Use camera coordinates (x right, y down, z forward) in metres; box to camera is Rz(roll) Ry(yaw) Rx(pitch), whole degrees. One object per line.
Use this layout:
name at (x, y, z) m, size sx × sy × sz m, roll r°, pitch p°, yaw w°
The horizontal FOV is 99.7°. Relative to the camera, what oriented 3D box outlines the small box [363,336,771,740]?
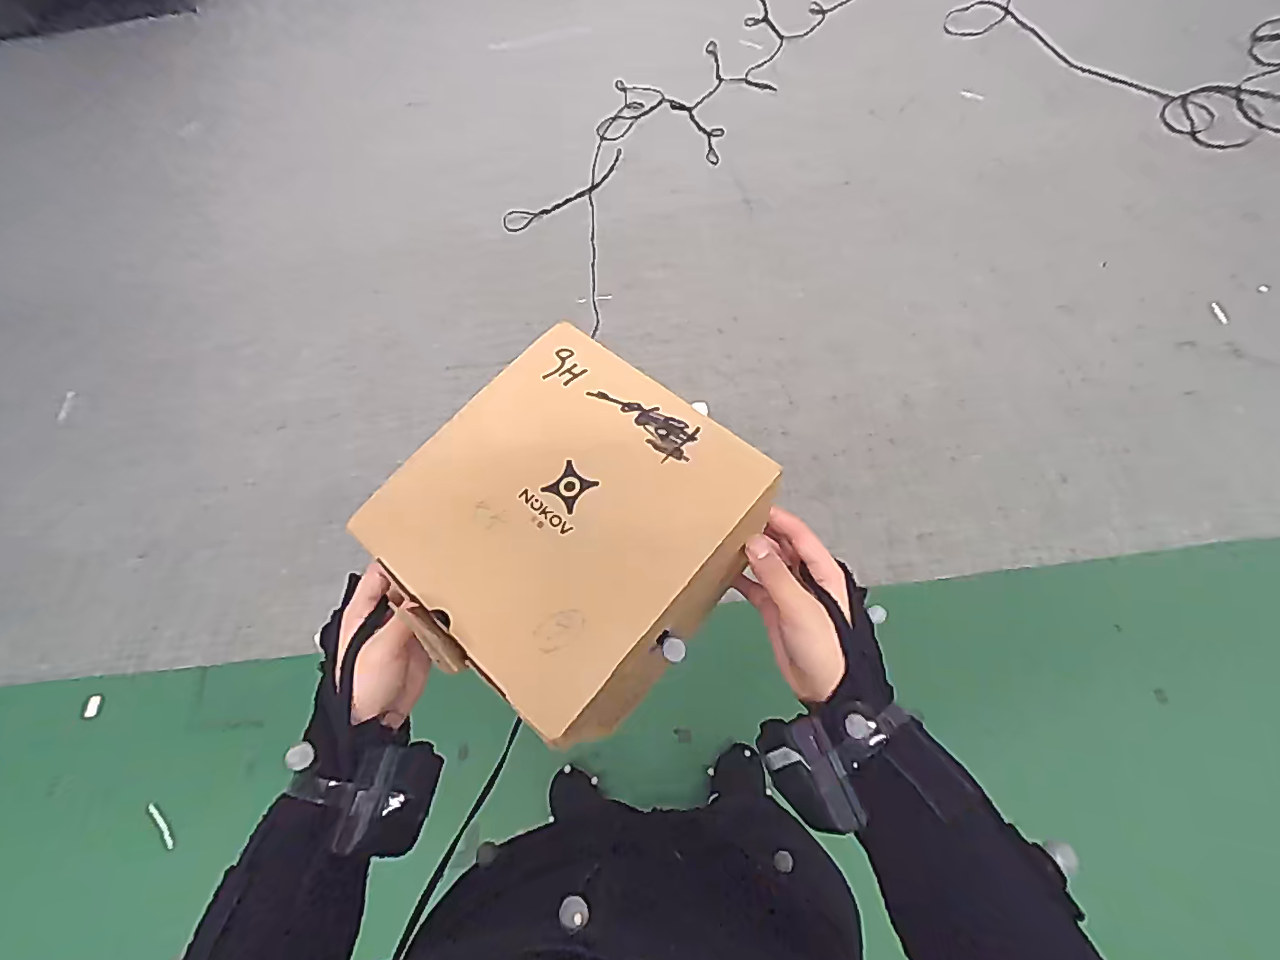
small box at (-0.033, 0.047, 0.369) m, size 0.168 × 0.176 × 0.179 m, roll 38°, pitch 76°, yaw 20°
